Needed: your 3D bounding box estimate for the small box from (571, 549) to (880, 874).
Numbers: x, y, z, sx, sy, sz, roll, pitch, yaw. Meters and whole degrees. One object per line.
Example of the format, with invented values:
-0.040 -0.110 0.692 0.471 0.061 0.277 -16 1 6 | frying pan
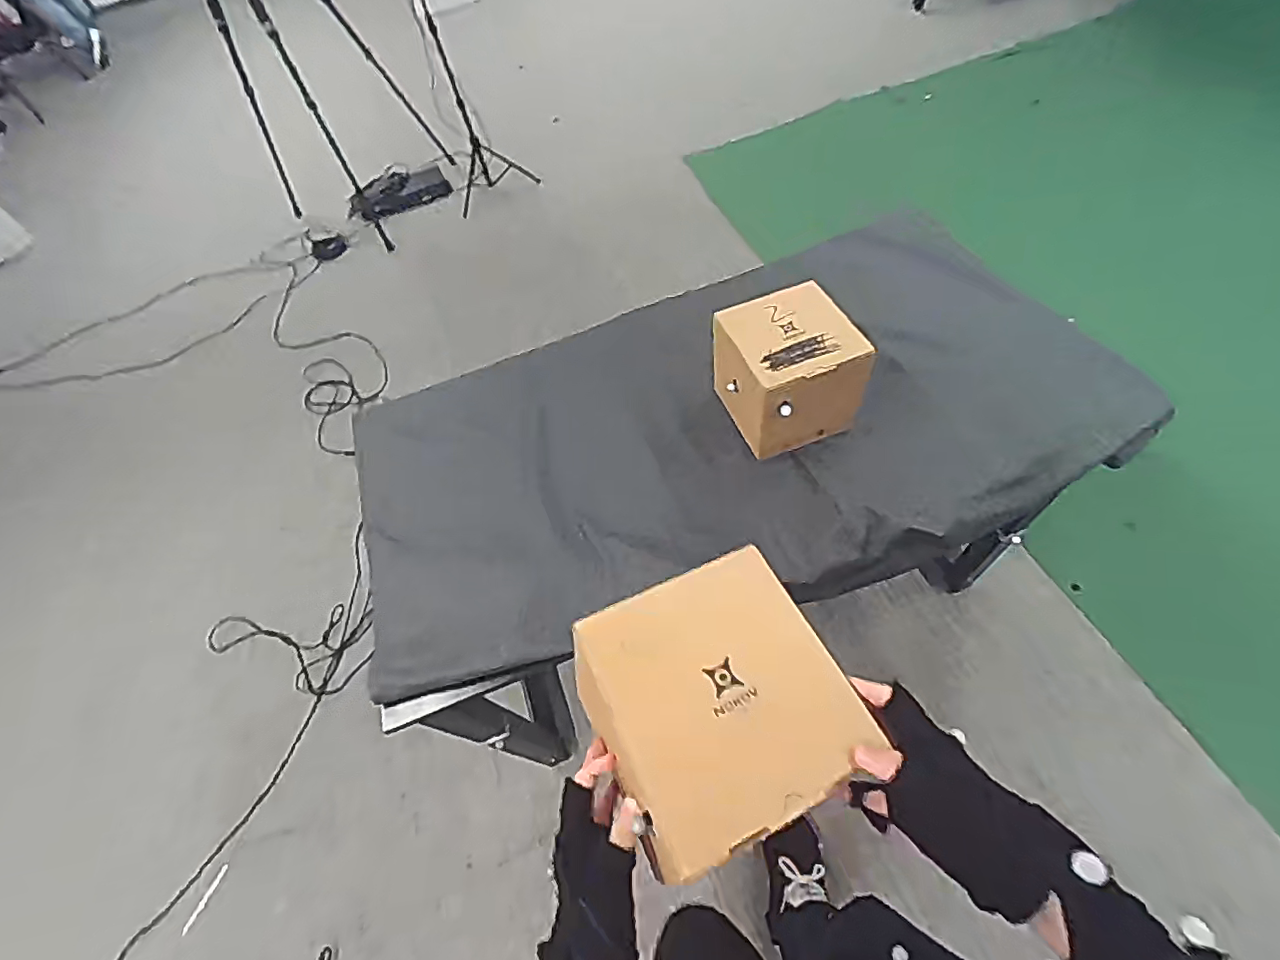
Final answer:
0.048 0.193 0.449 0.168 0.176 0.179 -21 59 -20 | small box
